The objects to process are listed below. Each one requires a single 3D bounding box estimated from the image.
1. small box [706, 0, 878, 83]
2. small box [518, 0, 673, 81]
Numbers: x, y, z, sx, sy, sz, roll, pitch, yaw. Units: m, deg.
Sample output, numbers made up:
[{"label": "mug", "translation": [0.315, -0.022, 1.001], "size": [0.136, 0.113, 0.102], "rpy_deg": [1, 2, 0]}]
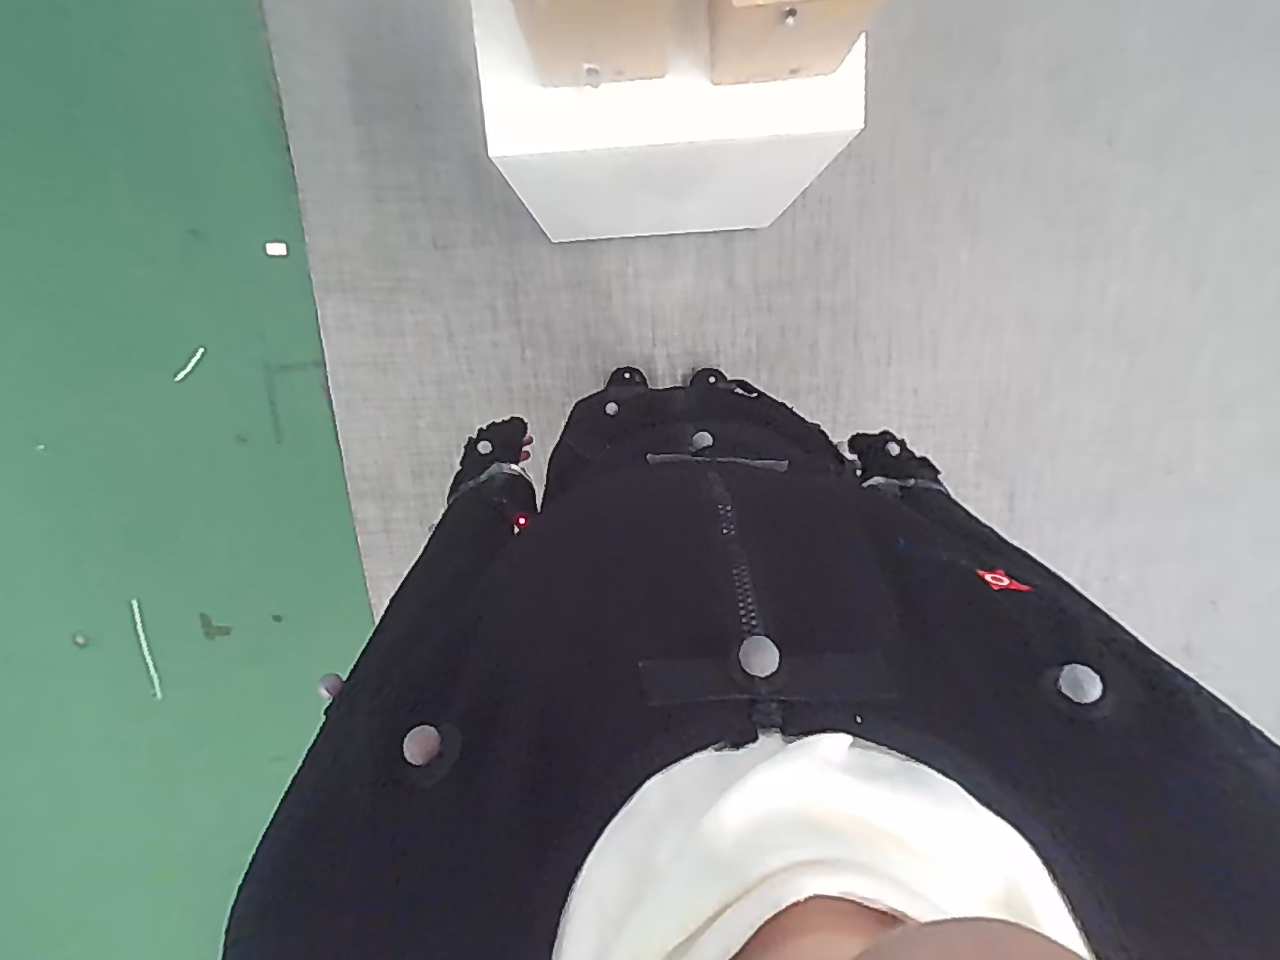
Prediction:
[{"label": "small box", "translation": [0.165, -0.597, 0.618], "size": [0.168, 0.176, 0.179], "rpy_deg": [-4, 101, 1]}, {"label": "small box", "translation": [-0.055, -0.592, 0.605], "size": [0.168, 0.176, 0.179], "rpy_deg": [-6, 103, 2]}]
